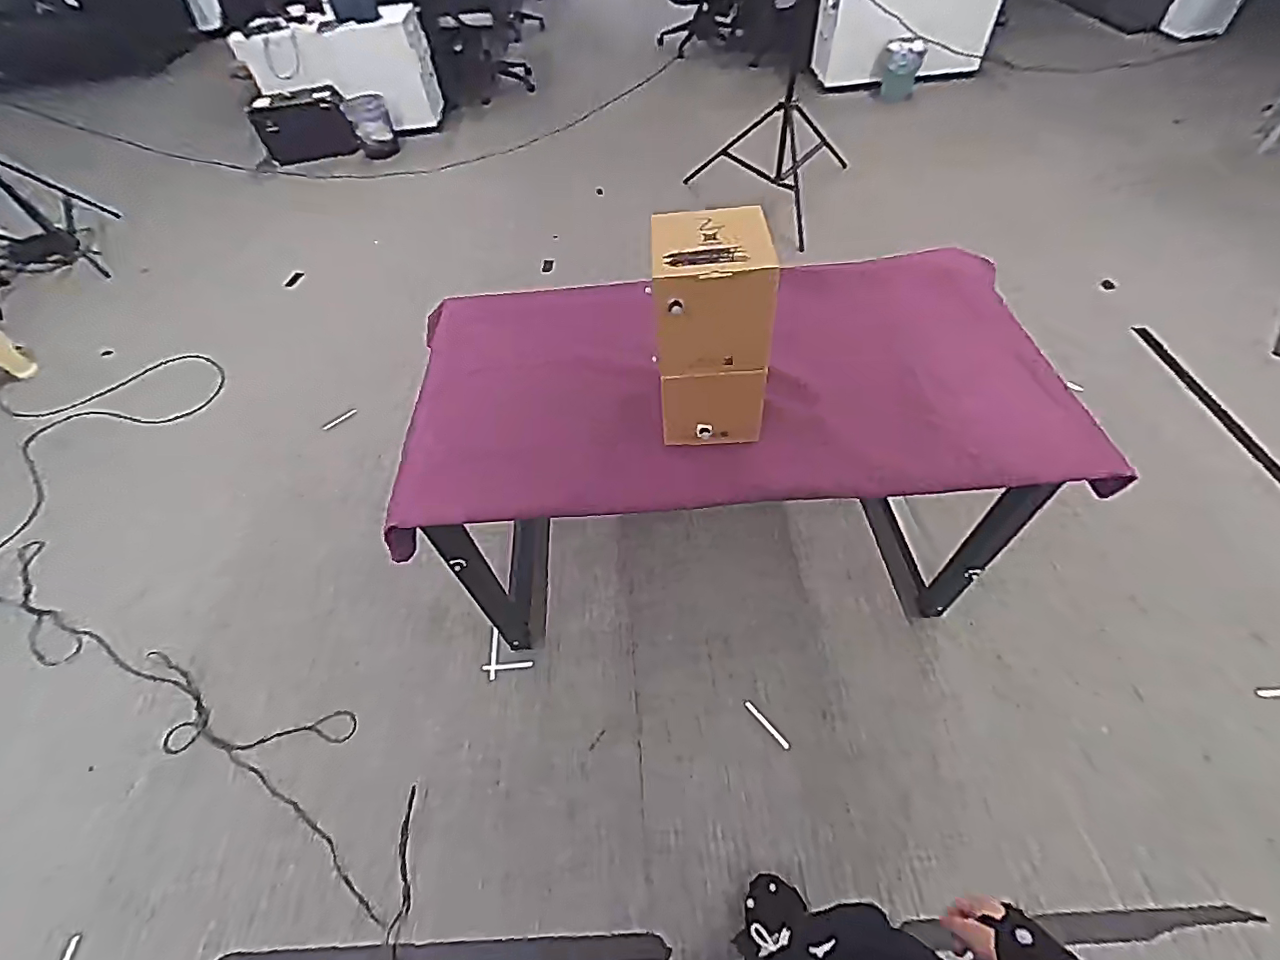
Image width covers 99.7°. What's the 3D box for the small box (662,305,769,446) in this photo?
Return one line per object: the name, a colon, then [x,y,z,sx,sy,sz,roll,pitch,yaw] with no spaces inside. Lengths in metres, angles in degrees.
small box: [0.123,-0.180,0.945,0.168,0.176,0.179,-3,53,4]
